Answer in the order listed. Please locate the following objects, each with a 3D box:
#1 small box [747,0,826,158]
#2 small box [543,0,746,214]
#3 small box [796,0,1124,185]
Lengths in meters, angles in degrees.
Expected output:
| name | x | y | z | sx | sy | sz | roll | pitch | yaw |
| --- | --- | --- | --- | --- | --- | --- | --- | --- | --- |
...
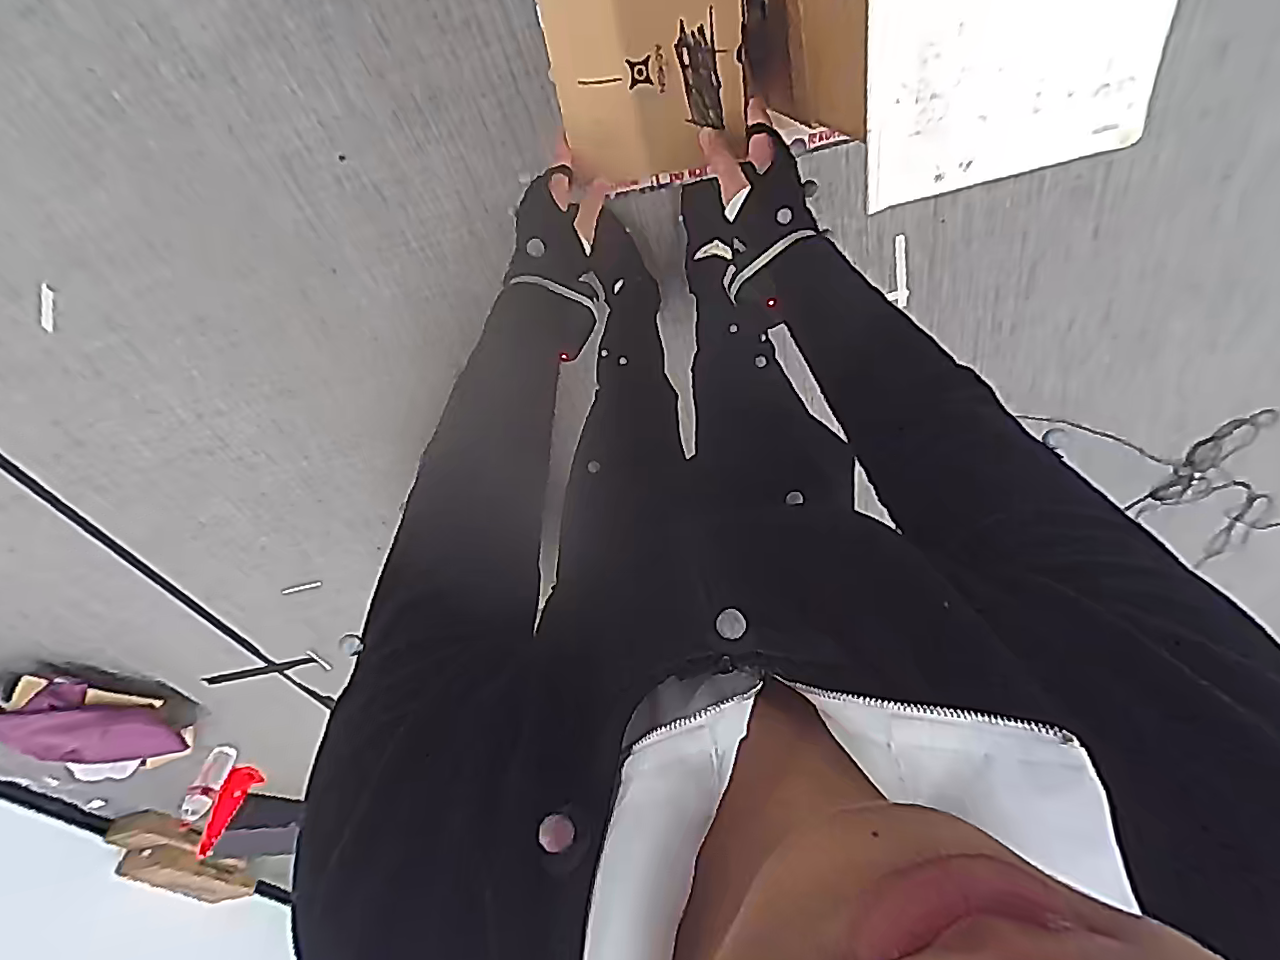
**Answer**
| name | x | y | z | sx | sy | sz | roll | pitch | yaw |
| --- | --- | --- | --- | --- | --- | --- | --- | --- | --- |
| small box | 0.218 | -0.455 | 0.541 | 0.179 | 0.176 | 0.168 | -16 | 129 | 8 |
| small box | 0.009 | -0.404 | 0.571 | 0.179 | 0.176 | 0.168 | -8 | 131 | 5 |
| small box | 0.225 | -0.357 | 0.412 | 0.168 | 0.176 | 0.179 | -15 | 130 | 7 |
